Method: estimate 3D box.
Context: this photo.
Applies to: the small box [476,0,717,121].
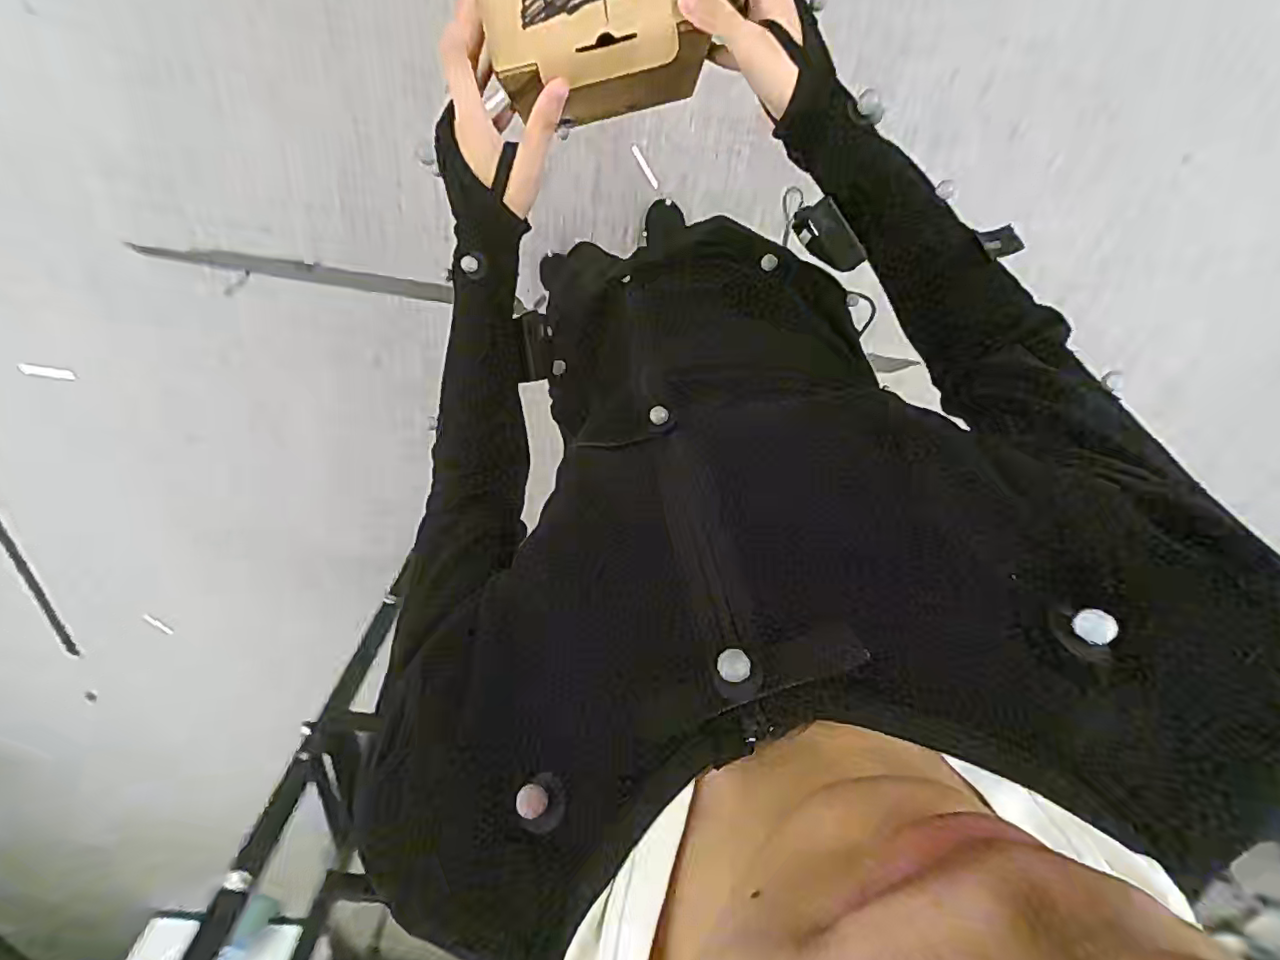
[{"bbox_3d":[-0.042,-0.412,0.427,0.168,0.176,0.179,-12,108,2],"label":"small box"}]
